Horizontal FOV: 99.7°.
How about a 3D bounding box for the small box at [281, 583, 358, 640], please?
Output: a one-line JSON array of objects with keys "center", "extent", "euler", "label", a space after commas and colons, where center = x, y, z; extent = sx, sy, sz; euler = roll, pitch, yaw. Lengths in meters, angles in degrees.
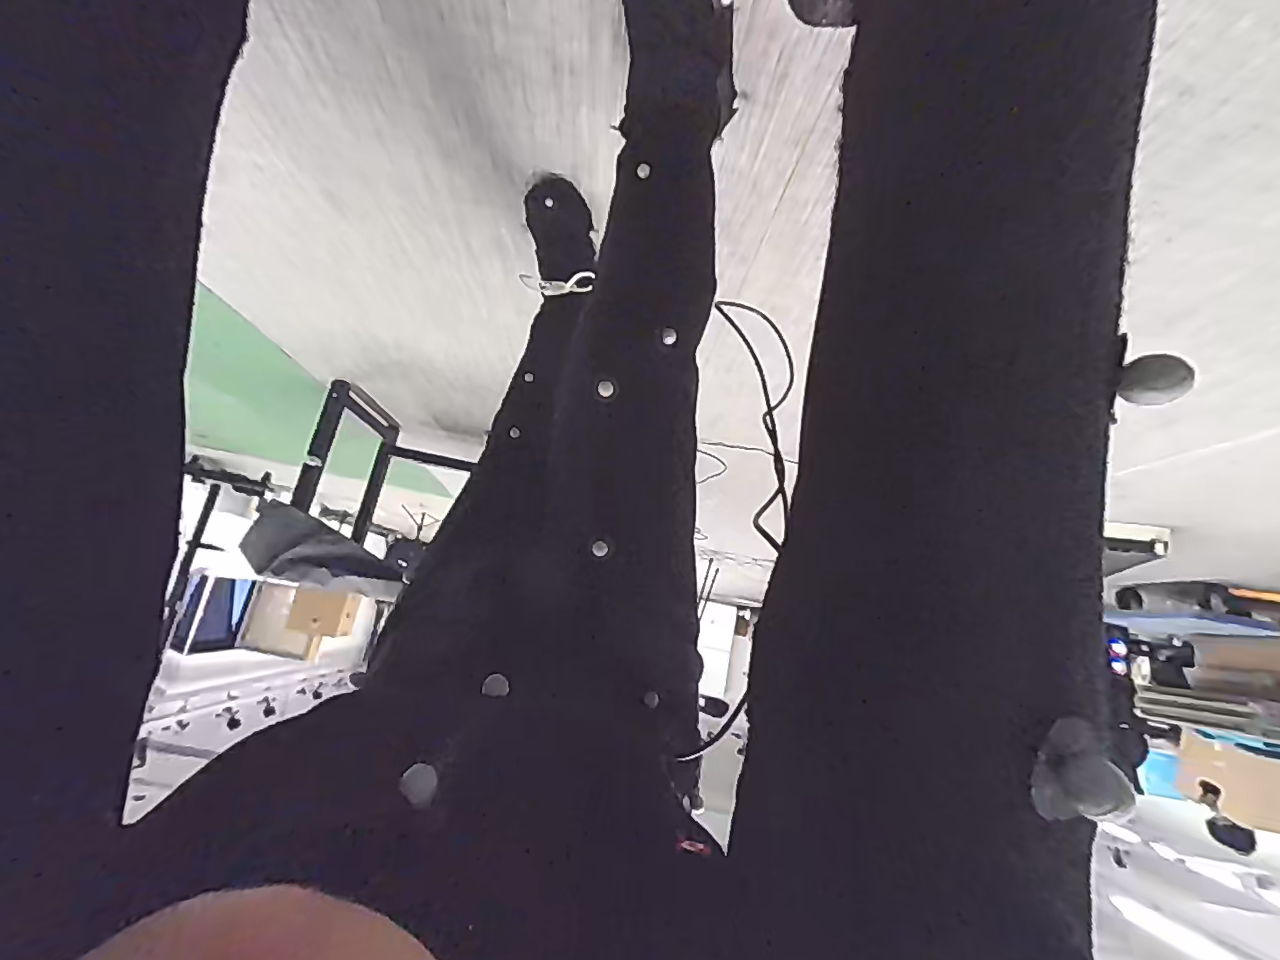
[{"center": [-1.135, 0.467, 1.935], "extent": [0.179, 0.176, 0.168], "euler": [14, 165, -7], "label": "small box"}]
